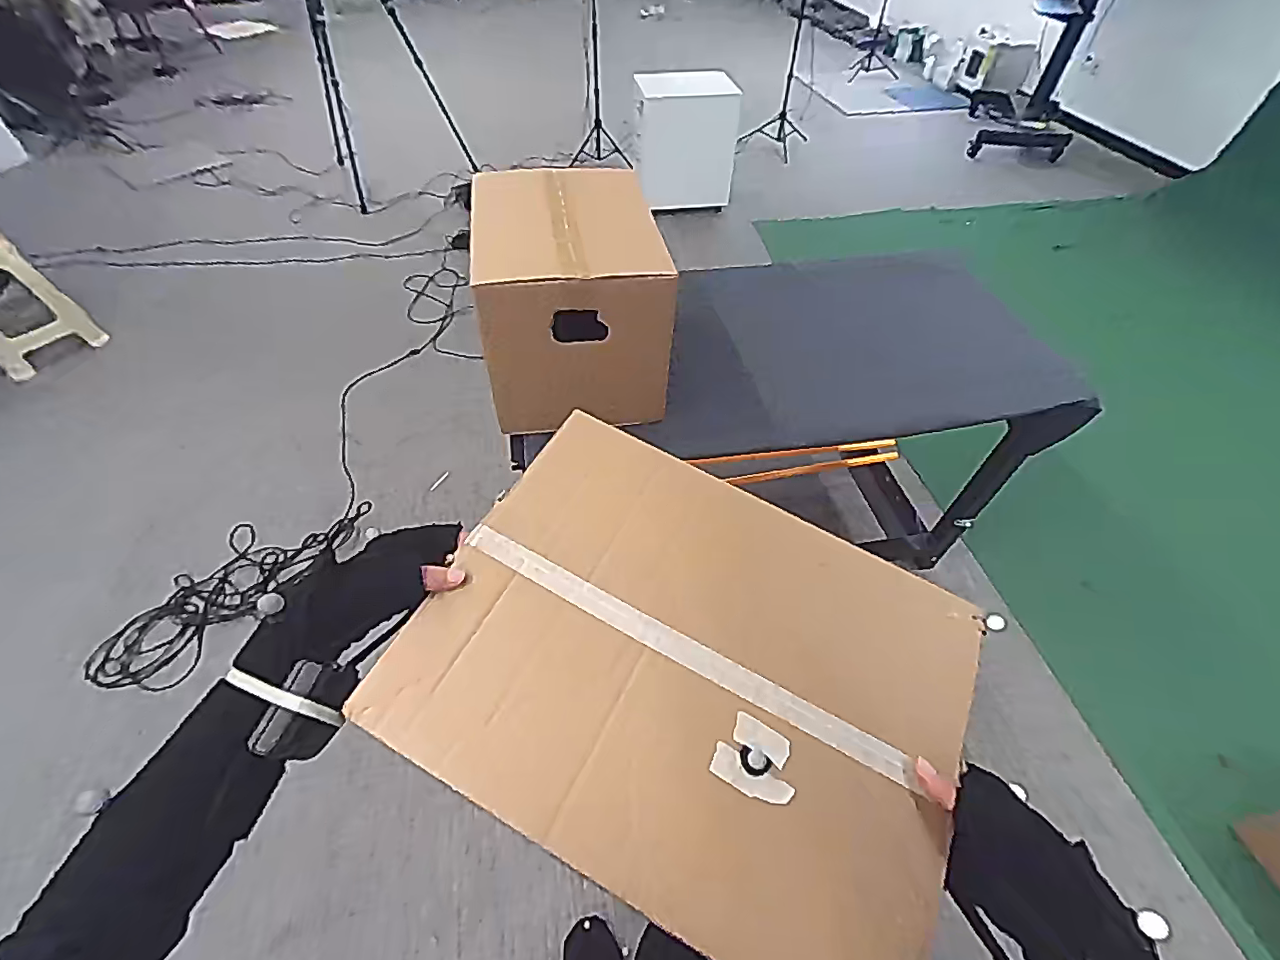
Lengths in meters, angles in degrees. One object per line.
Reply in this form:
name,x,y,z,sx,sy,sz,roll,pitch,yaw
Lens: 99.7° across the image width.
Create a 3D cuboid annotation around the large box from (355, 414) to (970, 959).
large box,0.024,0.206,0.545,0.408,0.320,0.320,27,60,9
